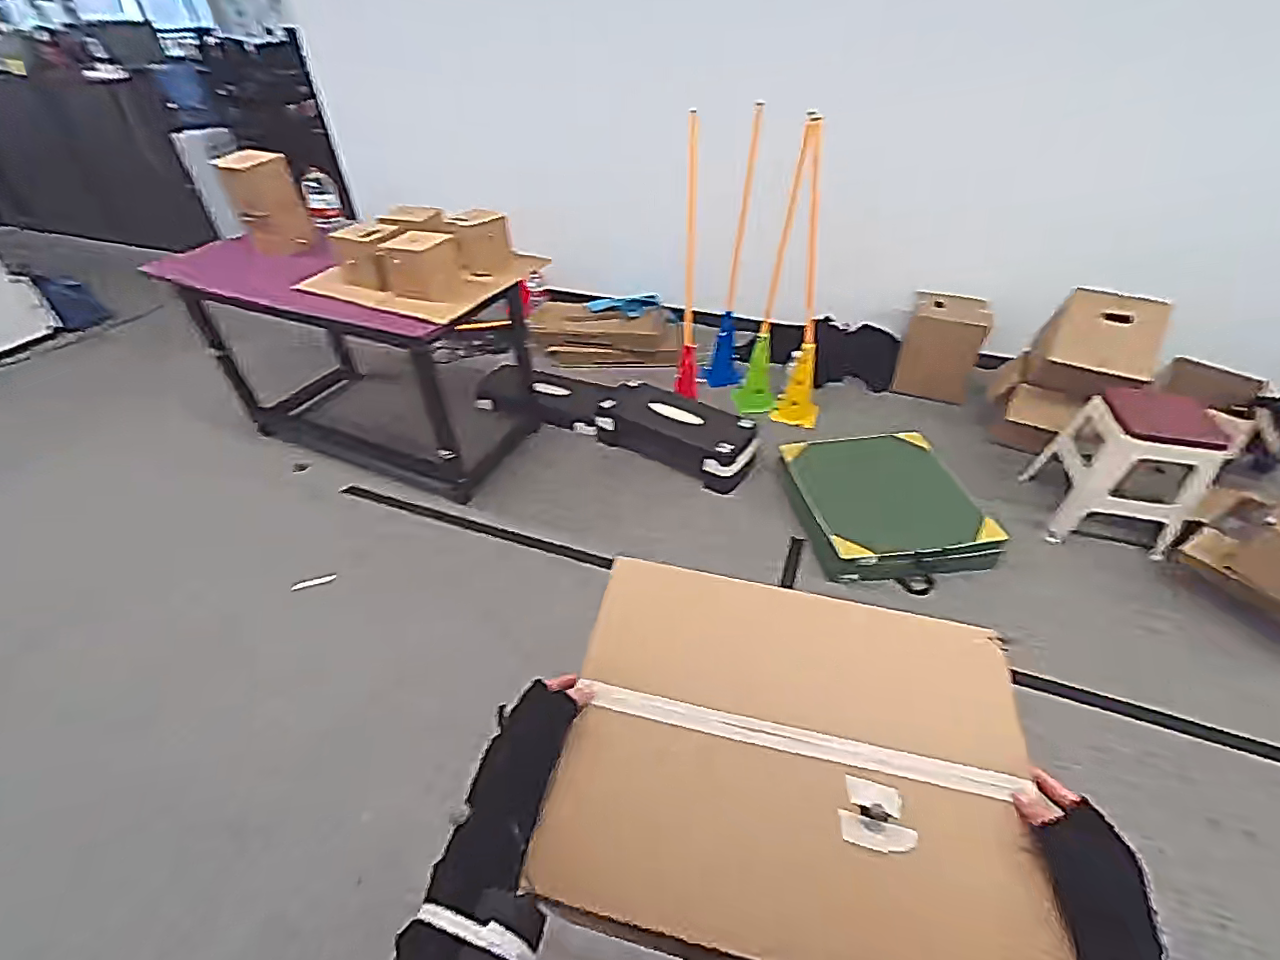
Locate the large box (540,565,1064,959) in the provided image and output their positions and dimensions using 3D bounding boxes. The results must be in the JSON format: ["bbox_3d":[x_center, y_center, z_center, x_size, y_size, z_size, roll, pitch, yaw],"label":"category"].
[{"bbox_3d":[0.137,0.338,0.608,0.408,0.320,0.320,10,49,7],"label":"large box"}]
